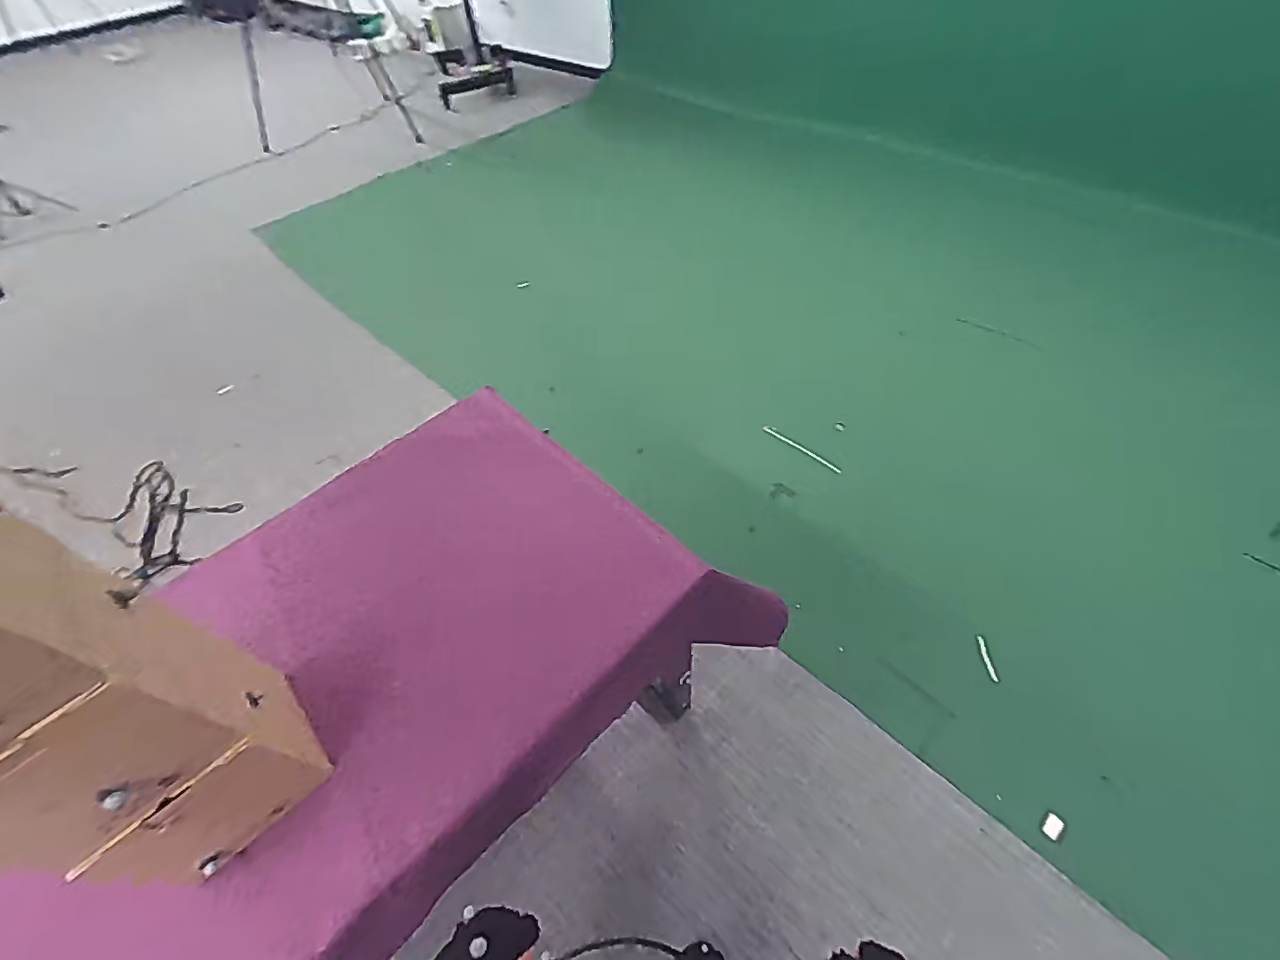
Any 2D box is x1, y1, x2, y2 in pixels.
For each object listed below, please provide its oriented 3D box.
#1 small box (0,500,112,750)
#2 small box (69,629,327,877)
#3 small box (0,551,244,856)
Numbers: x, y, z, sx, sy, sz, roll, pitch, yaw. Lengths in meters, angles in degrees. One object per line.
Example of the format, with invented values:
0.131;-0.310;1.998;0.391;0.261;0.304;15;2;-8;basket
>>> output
-0.532;0.102;0.372;0.168;0.176;0.179;-39;58;-23;small box
-0.502;0.313;0.620;0.168;0.176;0.179;-38;57;-24;small box
-0.519;0.206;0.496;0.168;0.176;0.179;-39;59;-23;small box
